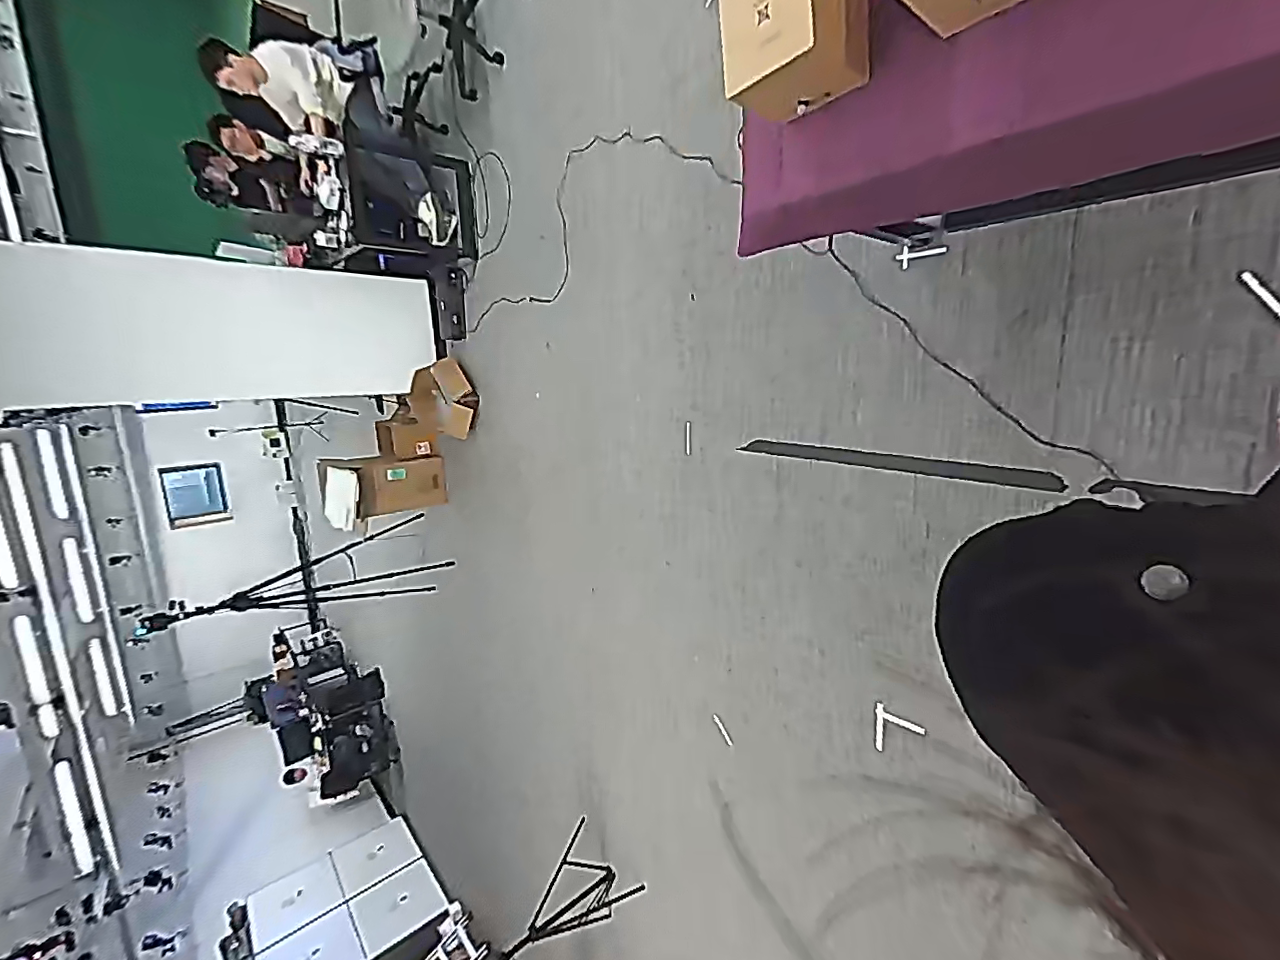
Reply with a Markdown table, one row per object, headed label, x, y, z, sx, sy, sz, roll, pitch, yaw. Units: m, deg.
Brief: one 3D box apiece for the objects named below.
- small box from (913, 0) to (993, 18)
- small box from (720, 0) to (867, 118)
| label | x | y | z | sx | sy | sz | roll | pitch | yaw |
| --- | --- | --- | --- | --- | --- | --- | --- | --- | --- |
| small box | 0.424 | -0.711 | 0.655 | 0.168 | 0.176 | 0.179 | 9 | 105 | 48 |
| small box | 0.246 | -0.724 | 0.863 | 0.168 | 0.176 | 0.179 | 6 | 103 | 49 |
